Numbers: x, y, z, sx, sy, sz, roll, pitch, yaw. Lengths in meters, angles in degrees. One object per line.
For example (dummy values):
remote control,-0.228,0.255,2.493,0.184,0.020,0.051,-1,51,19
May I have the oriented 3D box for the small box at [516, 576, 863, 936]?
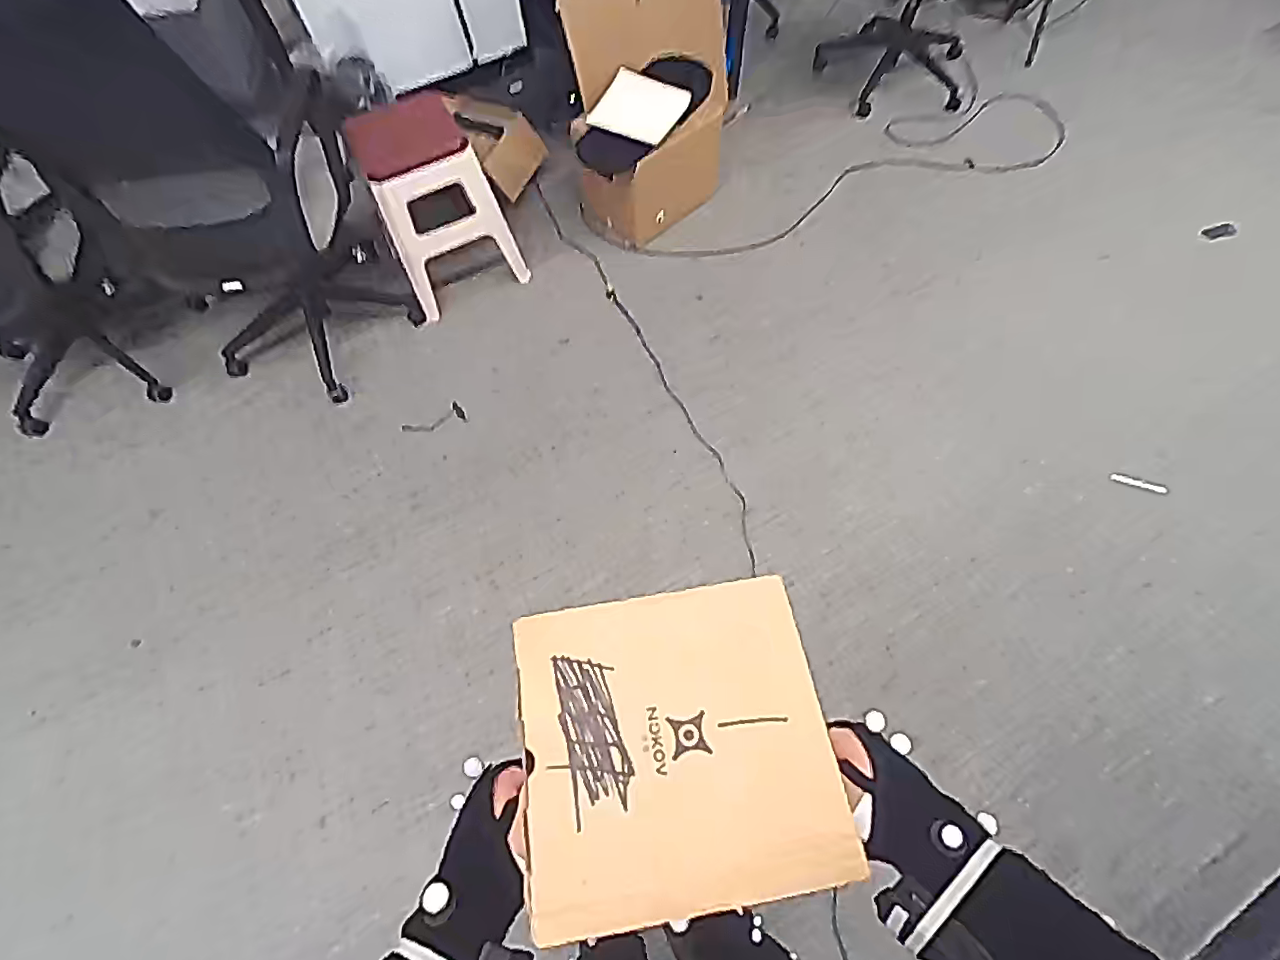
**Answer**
small box,0.022,0.183,0.381,0.179,0.176,0.168,-9,63,-3
